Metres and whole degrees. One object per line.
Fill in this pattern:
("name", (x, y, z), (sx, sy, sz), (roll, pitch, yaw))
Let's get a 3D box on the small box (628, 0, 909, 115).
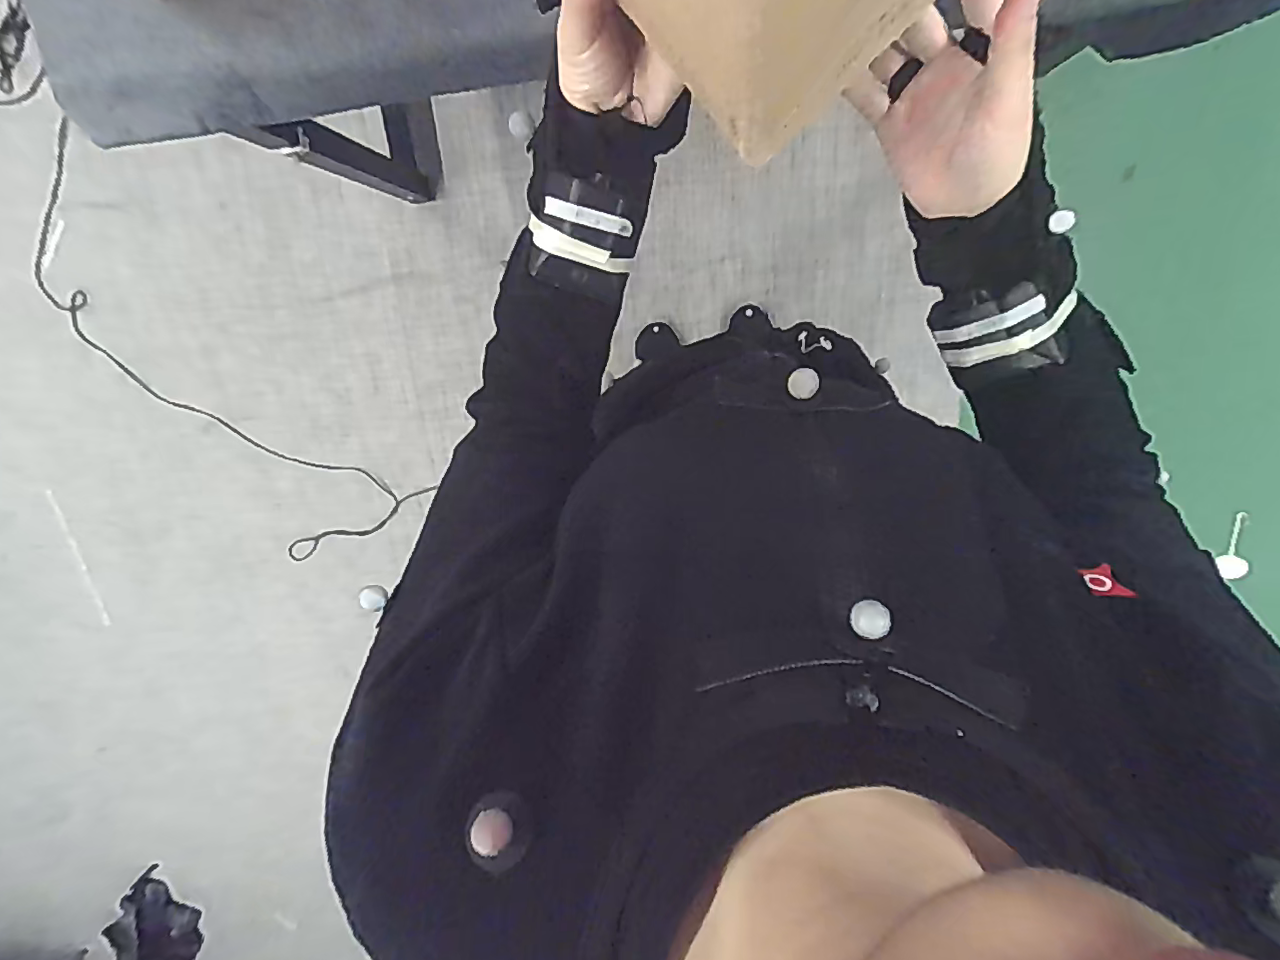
("small box", (0.043, -0.241, 0.141), (0.168, 0.176, 0.179), (-40, 91, 17))
